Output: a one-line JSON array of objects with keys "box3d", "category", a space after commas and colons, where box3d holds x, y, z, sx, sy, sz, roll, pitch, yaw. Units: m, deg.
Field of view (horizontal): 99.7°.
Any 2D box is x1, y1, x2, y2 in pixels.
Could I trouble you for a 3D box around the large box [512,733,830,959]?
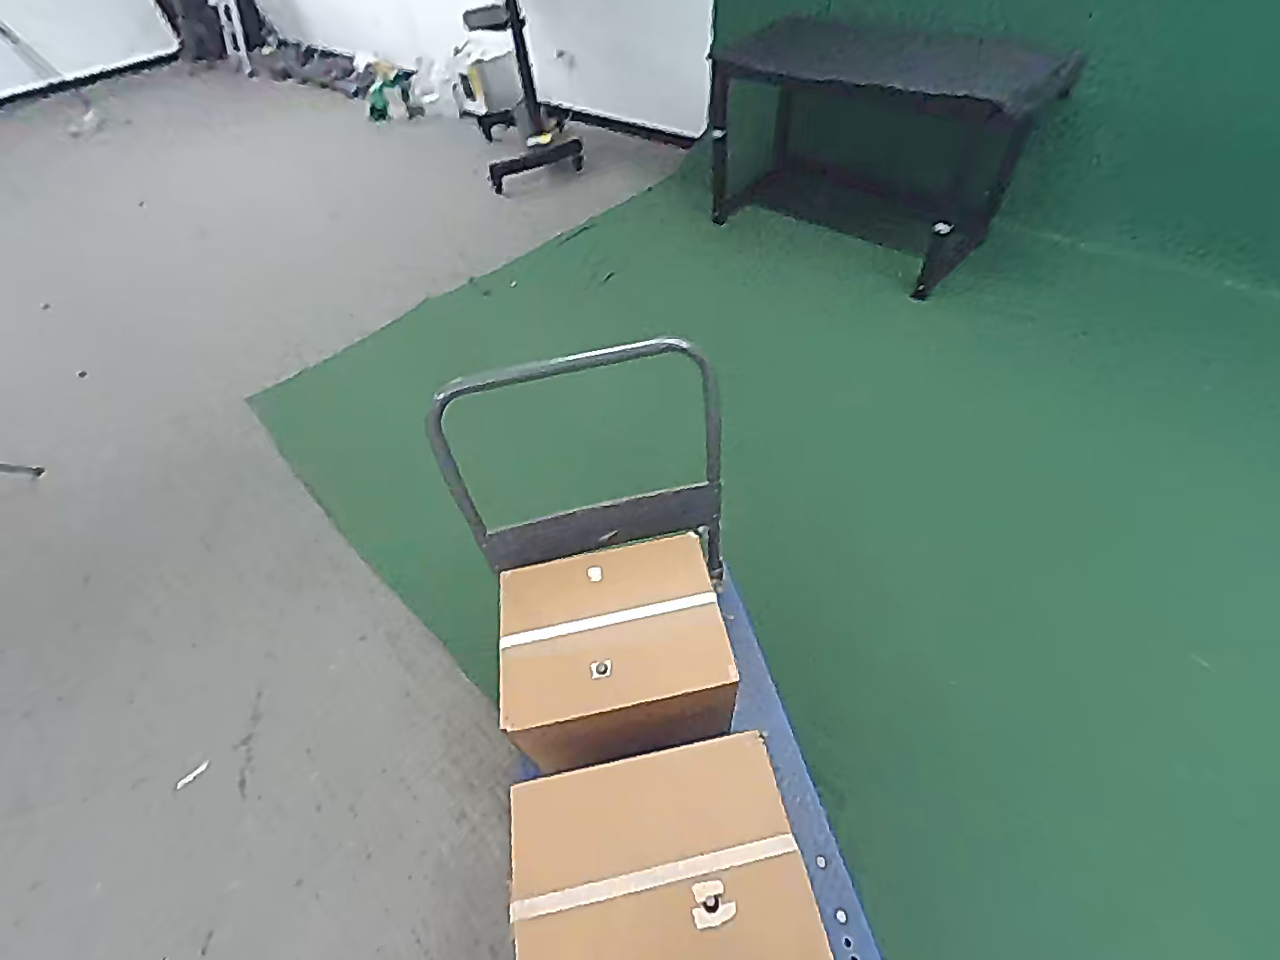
[{"box3d": [0.032, 0.656, 0.866, 0.408, 0.320, 0.320, -10, 48, -4], "category": "large box"}]
